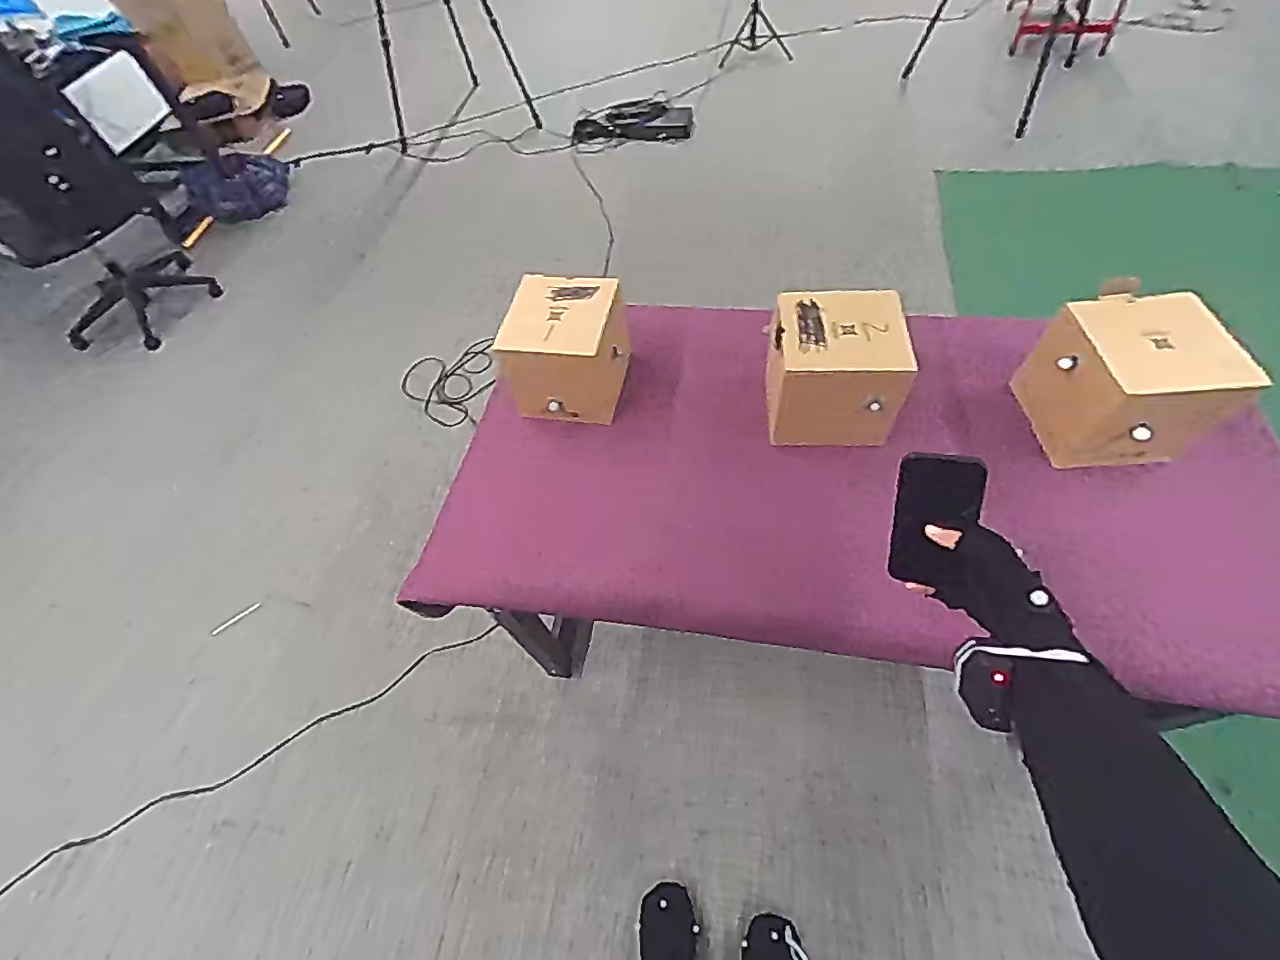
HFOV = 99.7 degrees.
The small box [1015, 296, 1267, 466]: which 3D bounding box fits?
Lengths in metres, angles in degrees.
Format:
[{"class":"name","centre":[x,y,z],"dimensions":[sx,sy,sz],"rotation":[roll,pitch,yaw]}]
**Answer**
[{"class":"small box","centre":[0.677,-0.130,0.763],"dimensions":[0.168,0.176,0.179],"rotation":[-3,56,5]}]

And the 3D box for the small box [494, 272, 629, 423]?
[{"class":"small box","centre":[-0.118,-0.220,0.908],"dimensions":[0.168,0.176,0.179],"rotation":[7,60,11]}]
